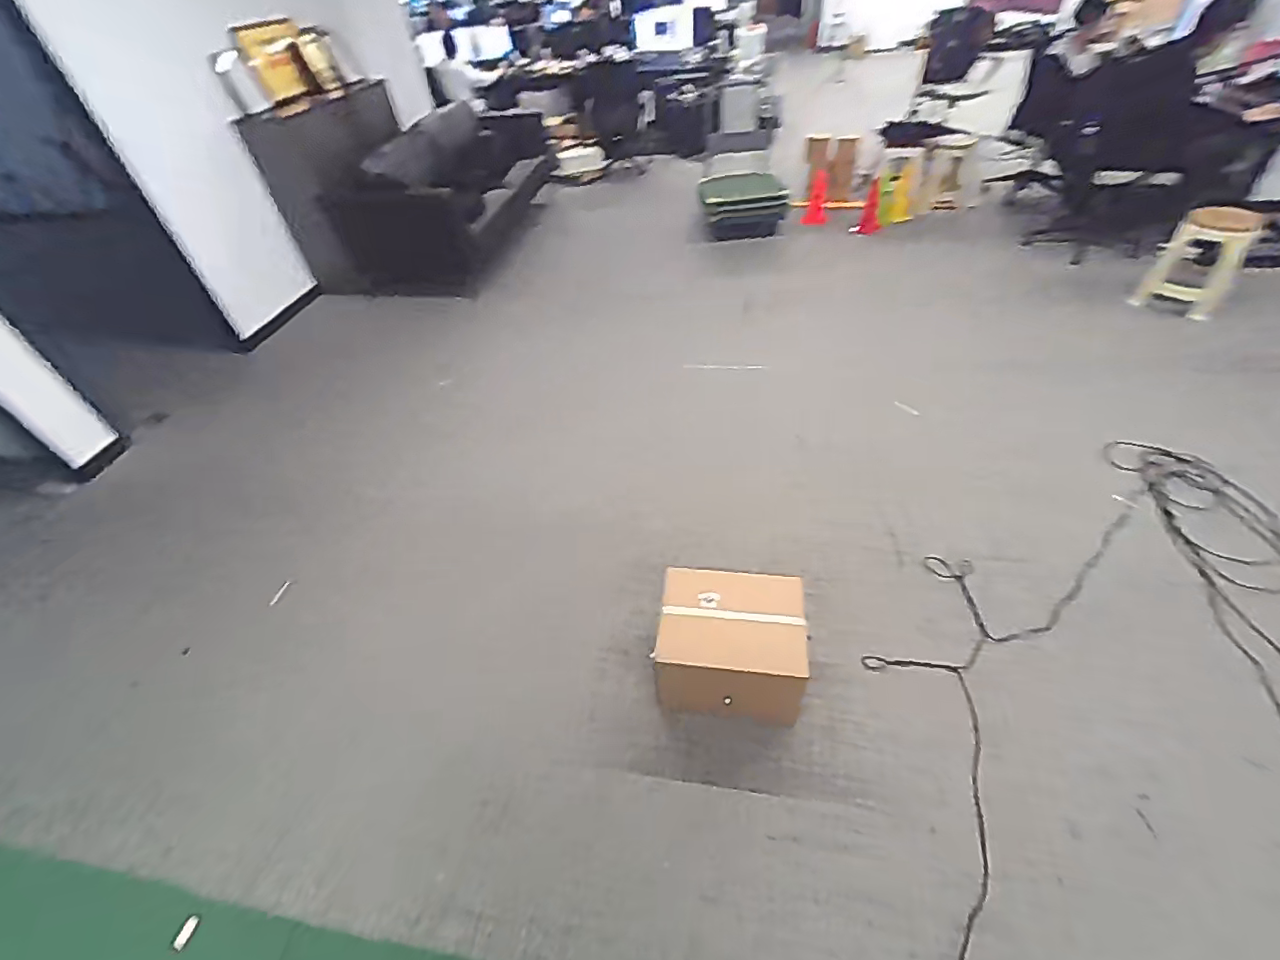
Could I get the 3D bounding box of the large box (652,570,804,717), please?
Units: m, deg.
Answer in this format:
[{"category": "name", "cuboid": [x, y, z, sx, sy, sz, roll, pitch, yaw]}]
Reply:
[{"category": "large box", "cuboid": [0.261, 0.493, 1.633, 0.408, 0.320, 0.320, 1, 44, 9]}]
